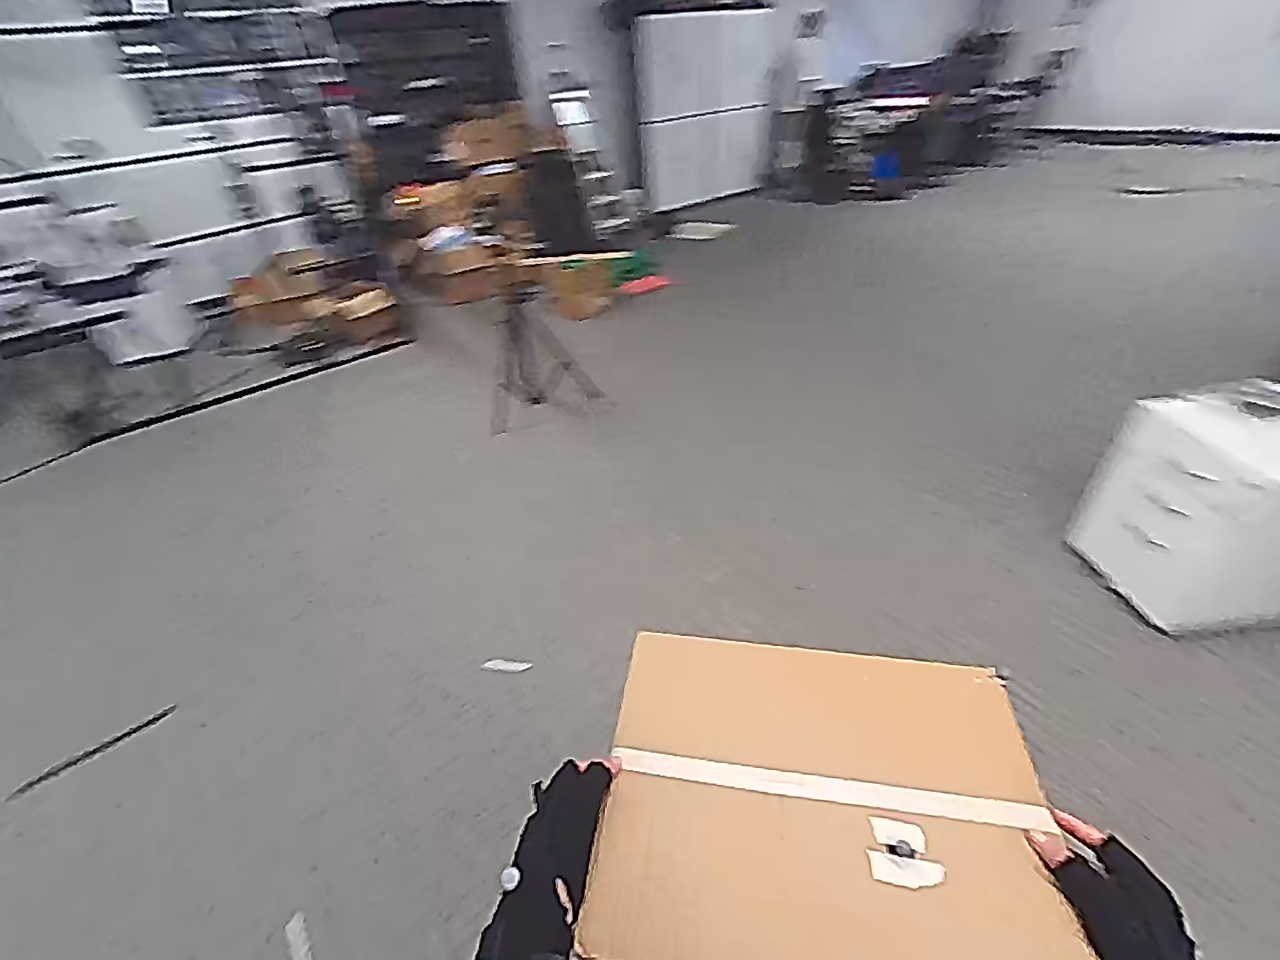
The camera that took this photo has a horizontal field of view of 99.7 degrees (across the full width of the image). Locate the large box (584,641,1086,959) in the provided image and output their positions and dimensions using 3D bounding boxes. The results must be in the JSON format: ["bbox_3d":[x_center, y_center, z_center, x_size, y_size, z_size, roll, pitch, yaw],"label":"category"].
[{"bbox_3d":[0.176,0.419,0.622,0.408,0.320,0.320,3,40,9],"label":"large box"}]
